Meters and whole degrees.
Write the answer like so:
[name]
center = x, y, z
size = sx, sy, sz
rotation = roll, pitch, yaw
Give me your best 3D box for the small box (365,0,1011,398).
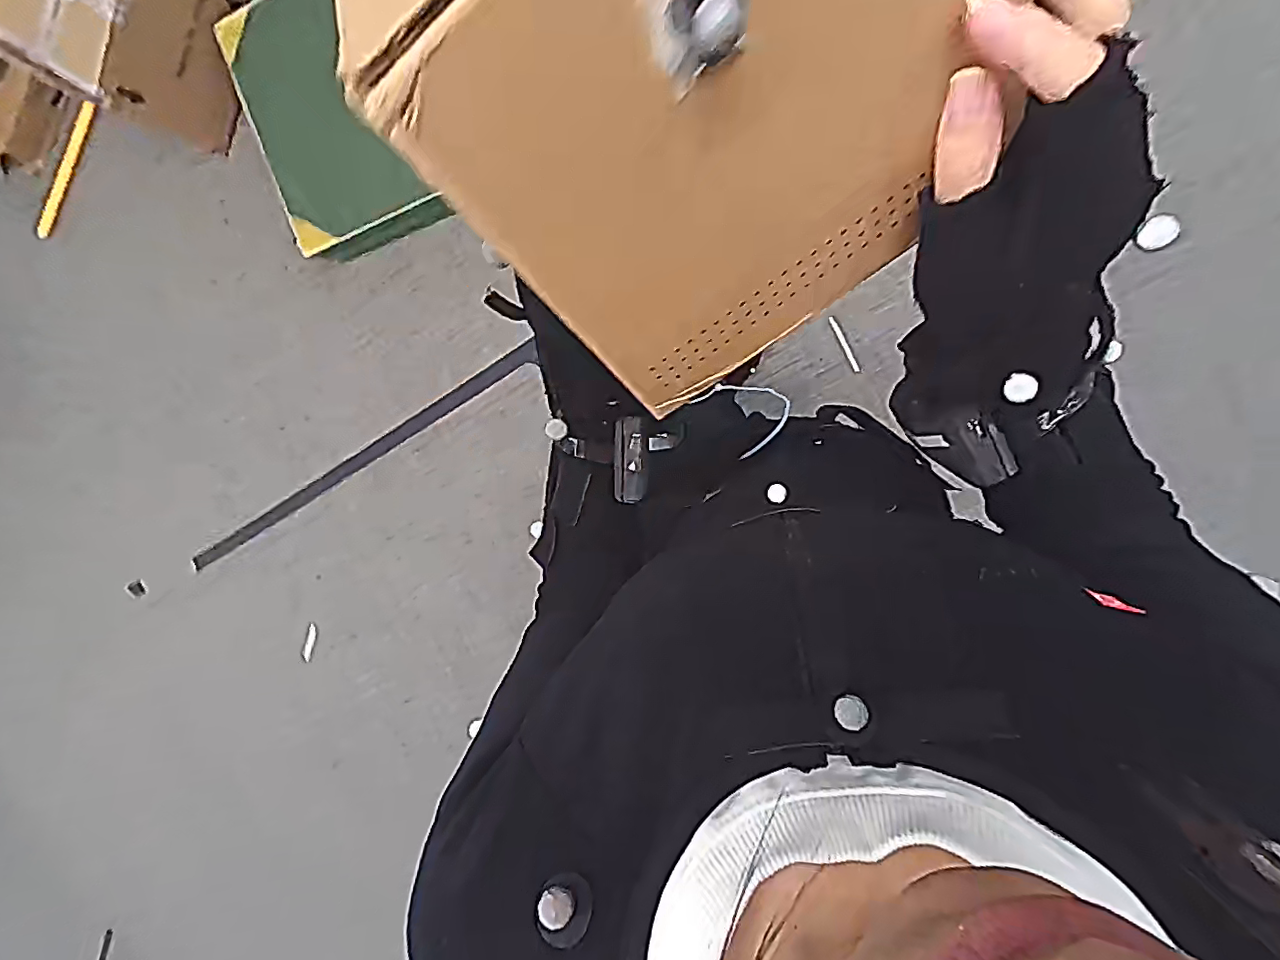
[small box]
center = 0.019, -0.166, 0.221
size = 0.179, 0.176, 0.168
rotation = -34, 54, 13
